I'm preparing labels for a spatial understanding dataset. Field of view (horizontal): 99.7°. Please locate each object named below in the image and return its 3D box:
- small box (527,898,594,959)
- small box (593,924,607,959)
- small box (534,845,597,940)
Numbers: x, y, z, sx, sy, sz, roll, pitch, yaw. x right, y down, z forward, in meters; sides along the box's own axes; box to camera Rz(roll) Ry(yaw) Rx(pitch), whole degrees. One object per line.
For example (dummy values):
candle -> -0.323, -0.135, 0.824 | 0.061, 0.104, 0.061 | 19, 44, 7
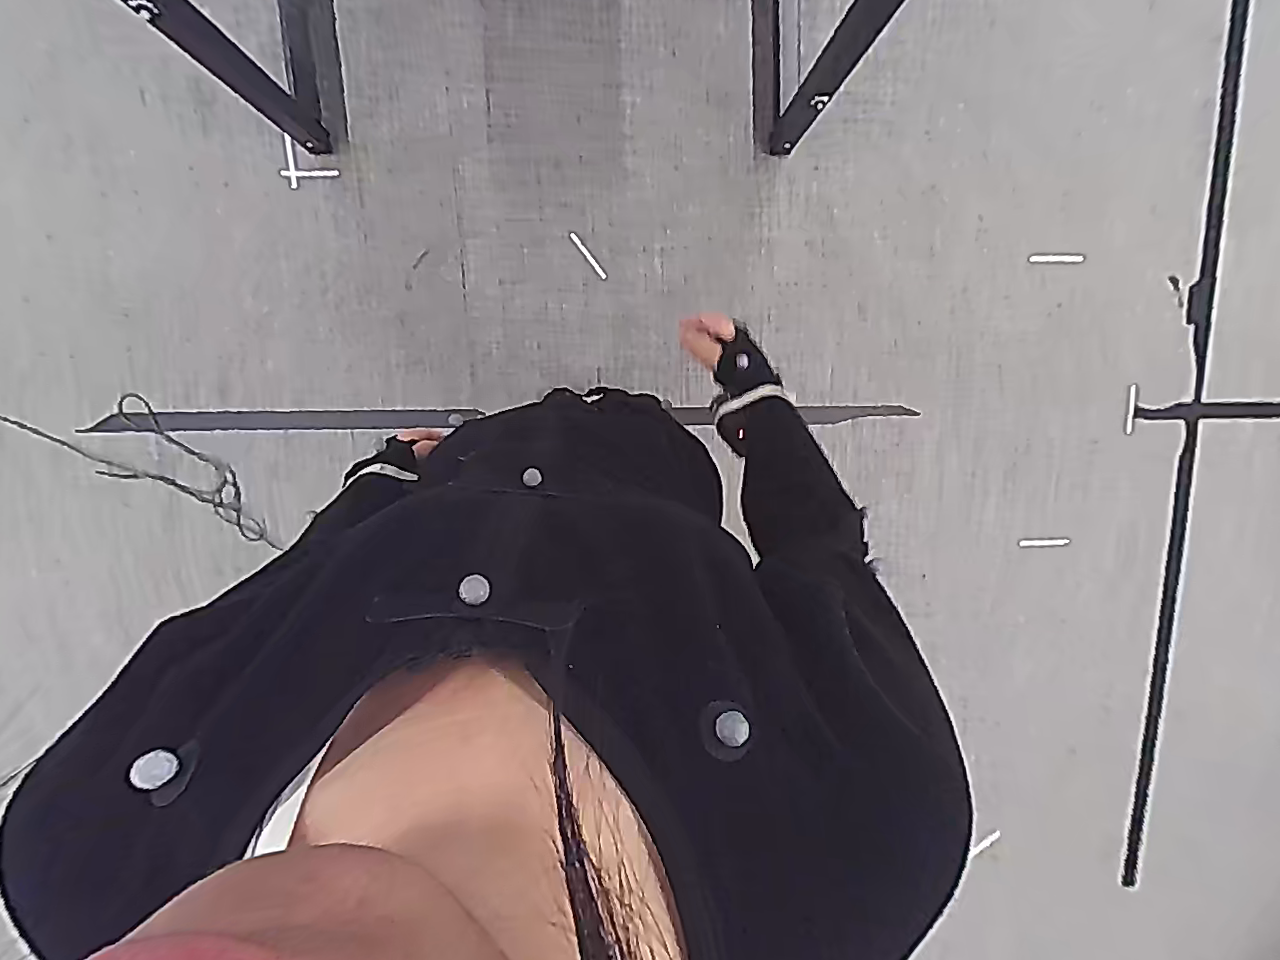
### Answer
small box -> -0.206, 1.244, 1.424 | 0.168, 0.176, 0.179 | -1, 100, -4
small box -> -0.189, 1.482, 1.630 | 0.168, 0.176, 0.179 | -9, 99, -2
small box -> -0.214, 1.206, 1.584 | 0.168, 0.176, 0.179 | -4, 100, -3
